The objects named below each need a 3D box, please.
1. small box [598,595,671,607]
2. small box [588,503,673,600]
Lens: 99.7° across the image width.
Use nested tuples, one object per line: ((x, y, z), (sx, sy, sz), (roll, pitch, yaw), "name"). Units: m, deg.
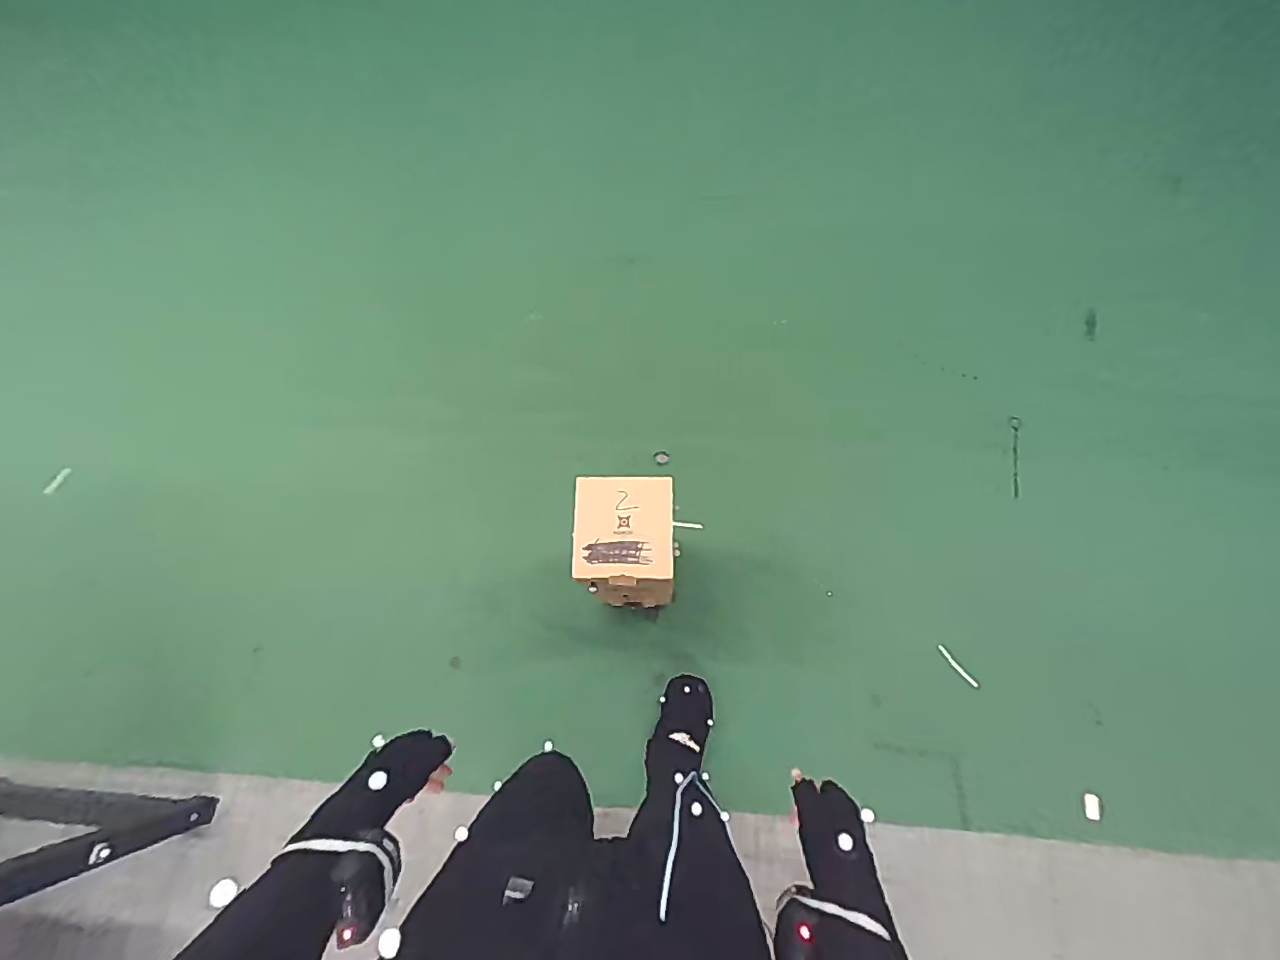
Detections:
((-0.008, 0.203, 1.285), (0.168, 0.176, 0.179), (2, 73, 3), "small box")
((-0.016, 0.154, 1.130), (0.168, 0.176, 0.179), (0, 73, 2), "small box")
